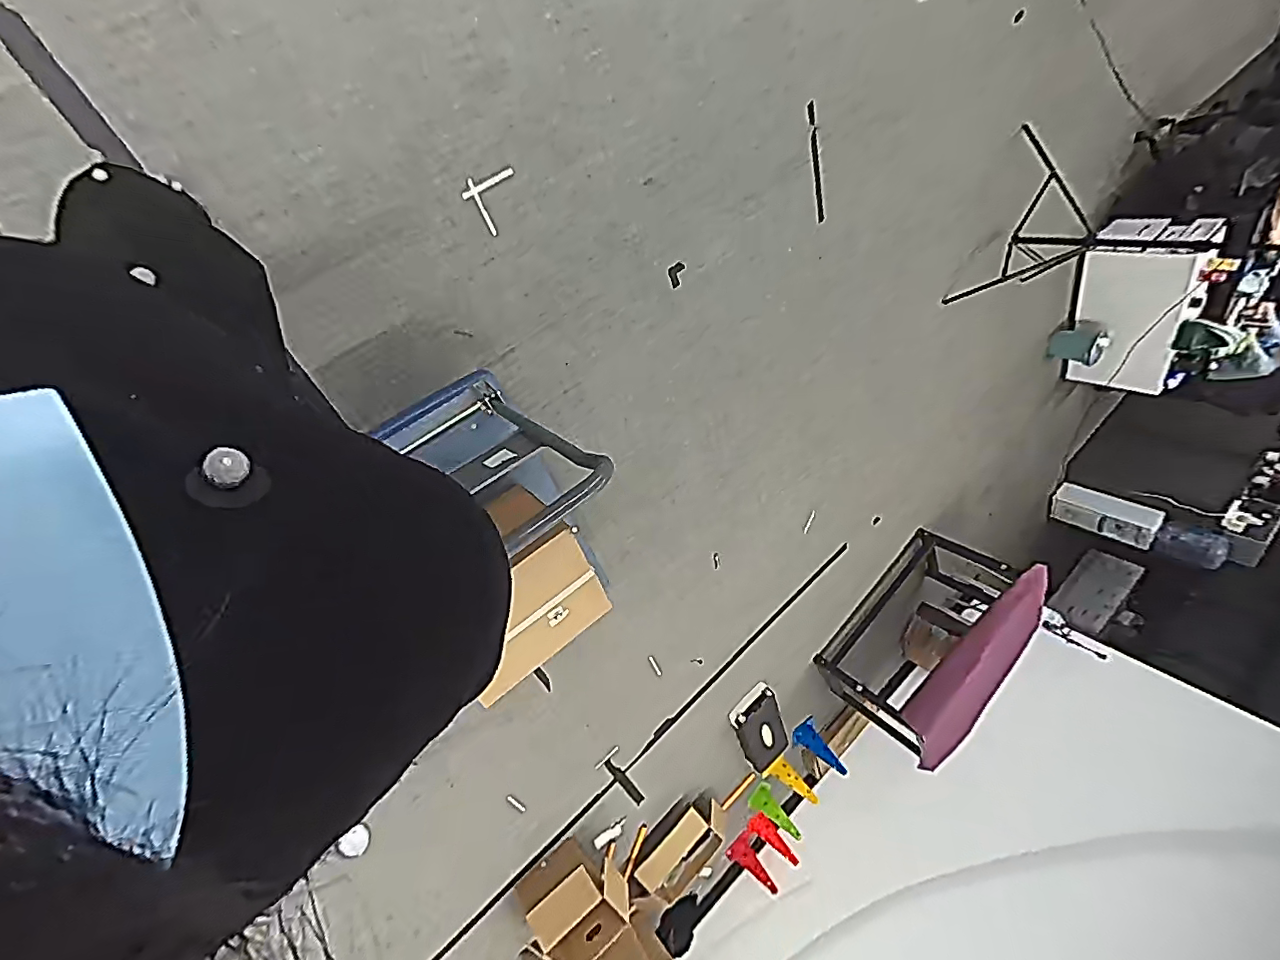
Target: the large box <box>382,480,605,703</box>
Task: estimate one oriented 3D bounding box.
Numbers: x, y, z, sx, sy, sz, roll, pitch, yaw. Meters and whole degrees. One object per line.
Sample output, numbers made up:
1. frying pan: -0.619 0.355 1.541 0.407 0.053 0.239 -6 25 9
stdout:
1. large box: -0.372 0.268 1.396 0.408 0.320 0.320 -37 129 -21
